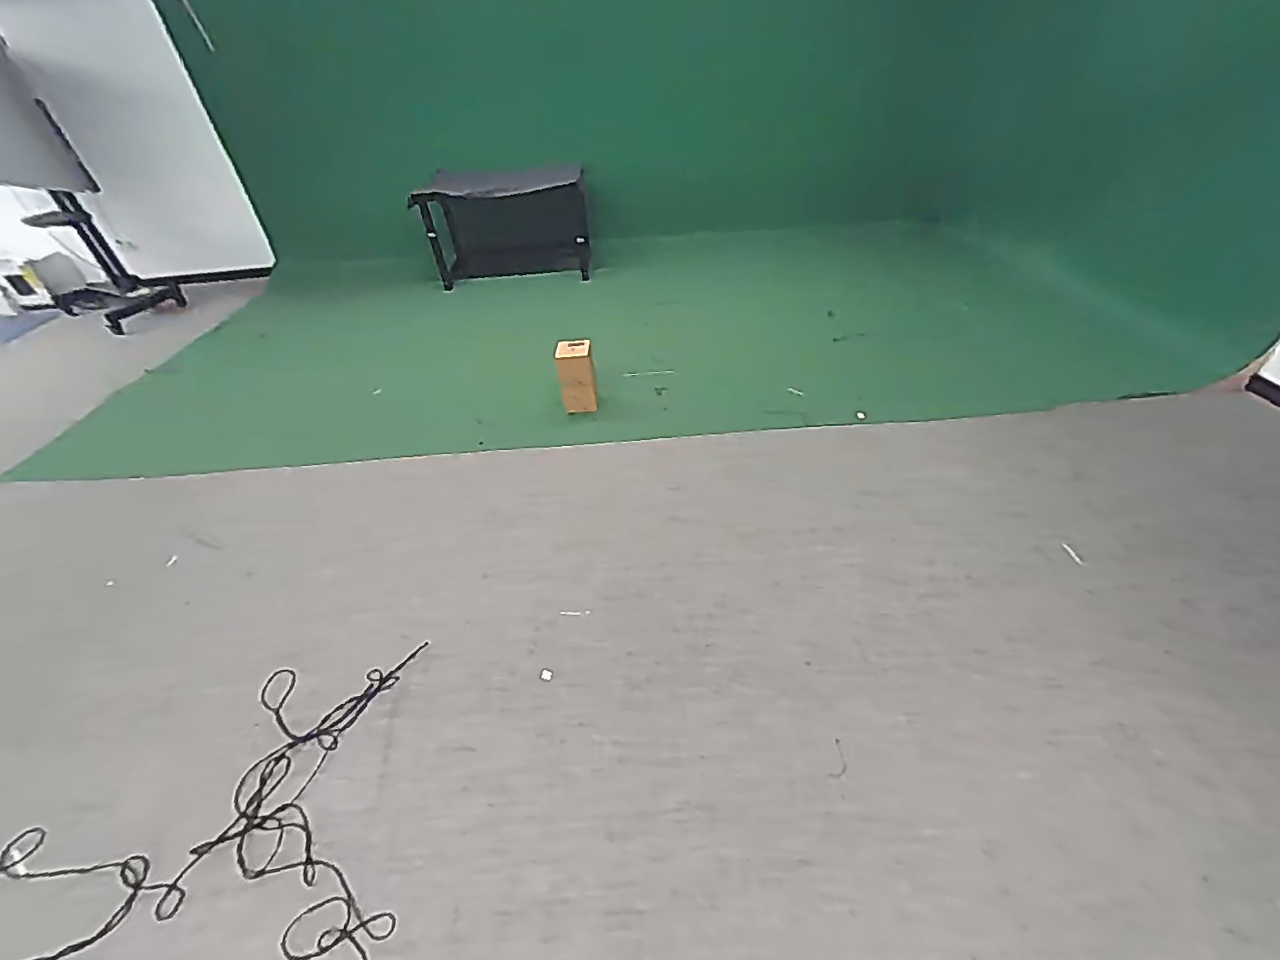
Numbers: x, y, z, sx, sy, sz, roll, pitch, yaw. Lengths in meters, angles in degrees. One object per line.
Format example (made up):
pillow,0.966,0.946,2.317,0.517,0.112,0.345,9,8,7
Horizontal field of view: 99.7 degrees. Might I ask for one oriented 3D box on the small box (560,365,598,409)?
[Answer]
small box,-0.317,-0.486,2.861,0.168,0.176,0.179,-4,39,3
